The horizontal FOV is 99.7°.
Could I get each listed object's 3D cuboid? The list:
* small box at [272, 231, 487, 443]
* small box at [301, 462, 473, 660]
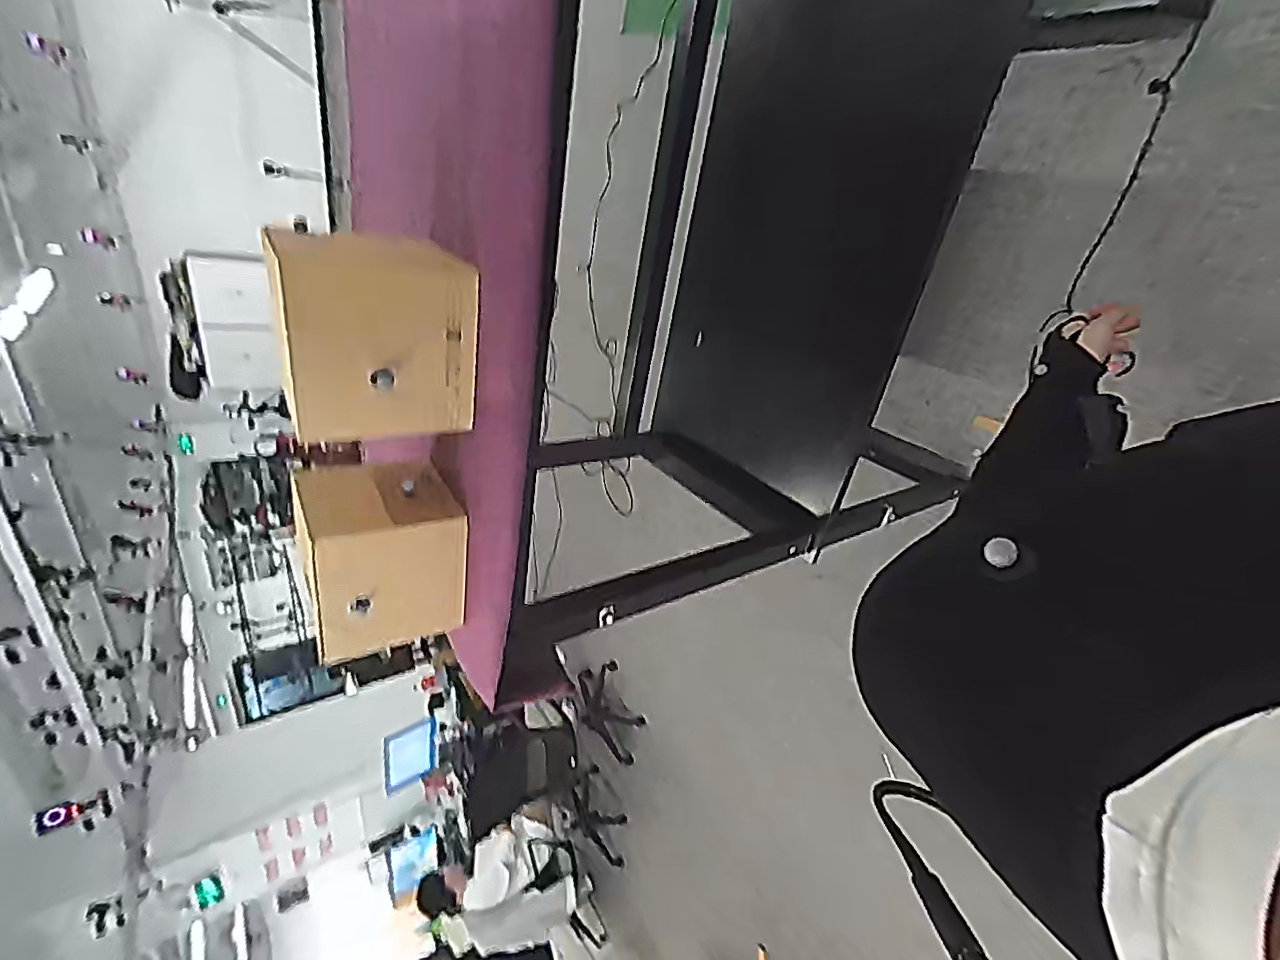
[{"bbox_3d":[-0.271,-0.155,0.572,0.179,0.176,0.168,40,129,44],"label":"small box"},{"bbox_3d":[-0.324,0.092,0.699,0.168,0.176,0.179,39,127,44],"label":"small box"}]
